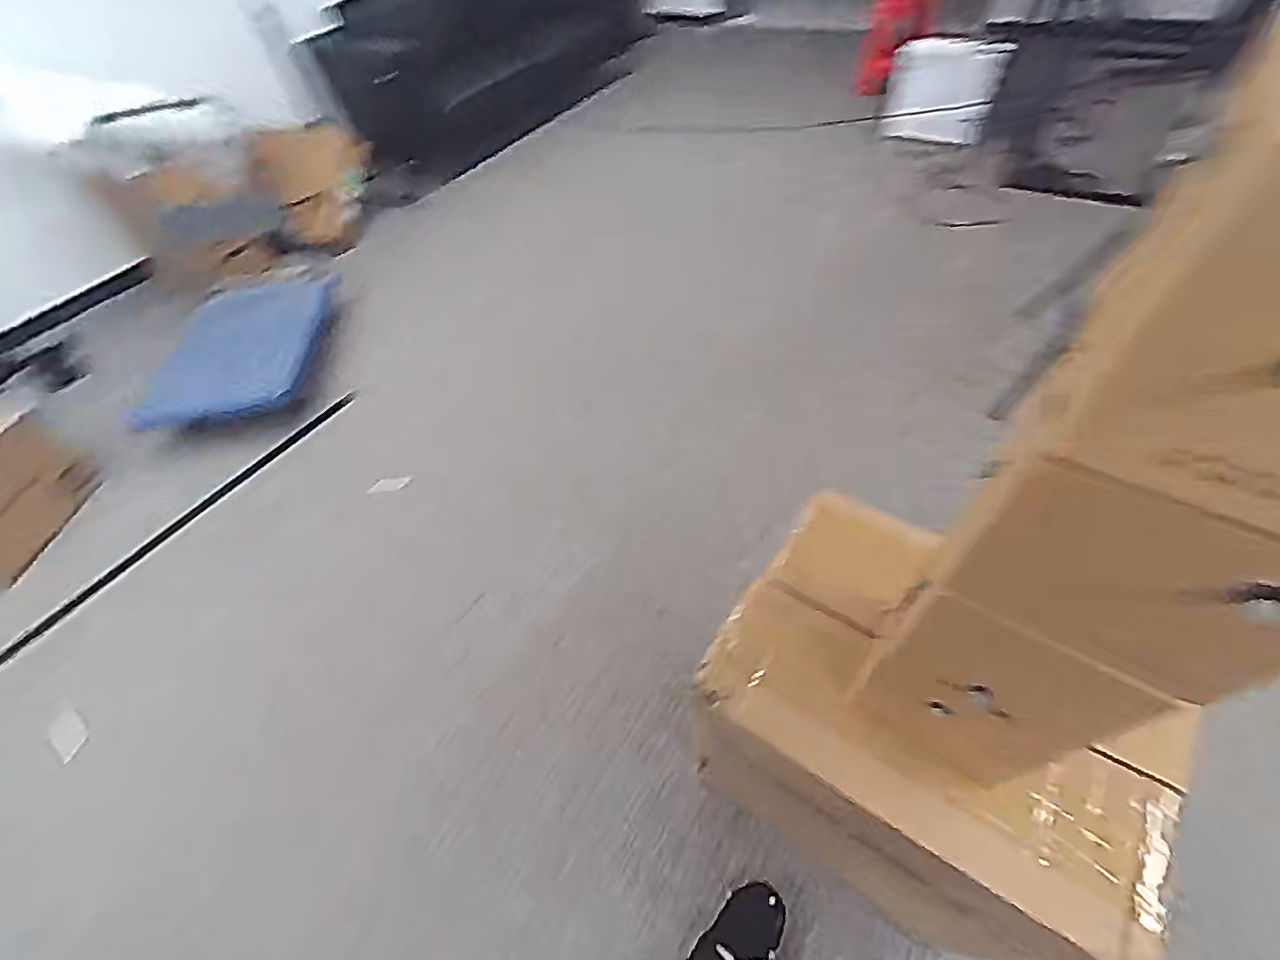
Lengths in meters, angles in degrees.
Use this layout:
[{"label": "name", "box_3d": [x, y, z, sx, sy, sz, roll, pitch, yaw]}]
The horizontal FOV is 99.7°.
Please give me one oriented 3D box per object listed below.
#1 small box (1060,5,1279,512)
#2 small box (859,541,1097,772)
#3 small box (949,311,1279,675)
[{"label": "small box", "box_3d": [0.337, -0.095, 0.251, 0.168, 0.176, 0.179, 26, 60, 25]}, {"label": "small box", "box_3d": [0.383, 0.210, 0.634, 0.179, 0.176, 0.168, 29, 61, 26]}, {"label": "small box", "box_3d": [0.355, 0.010, 0.374, 0.179, 0.176, 0.168, 28, 60, 26]}]
